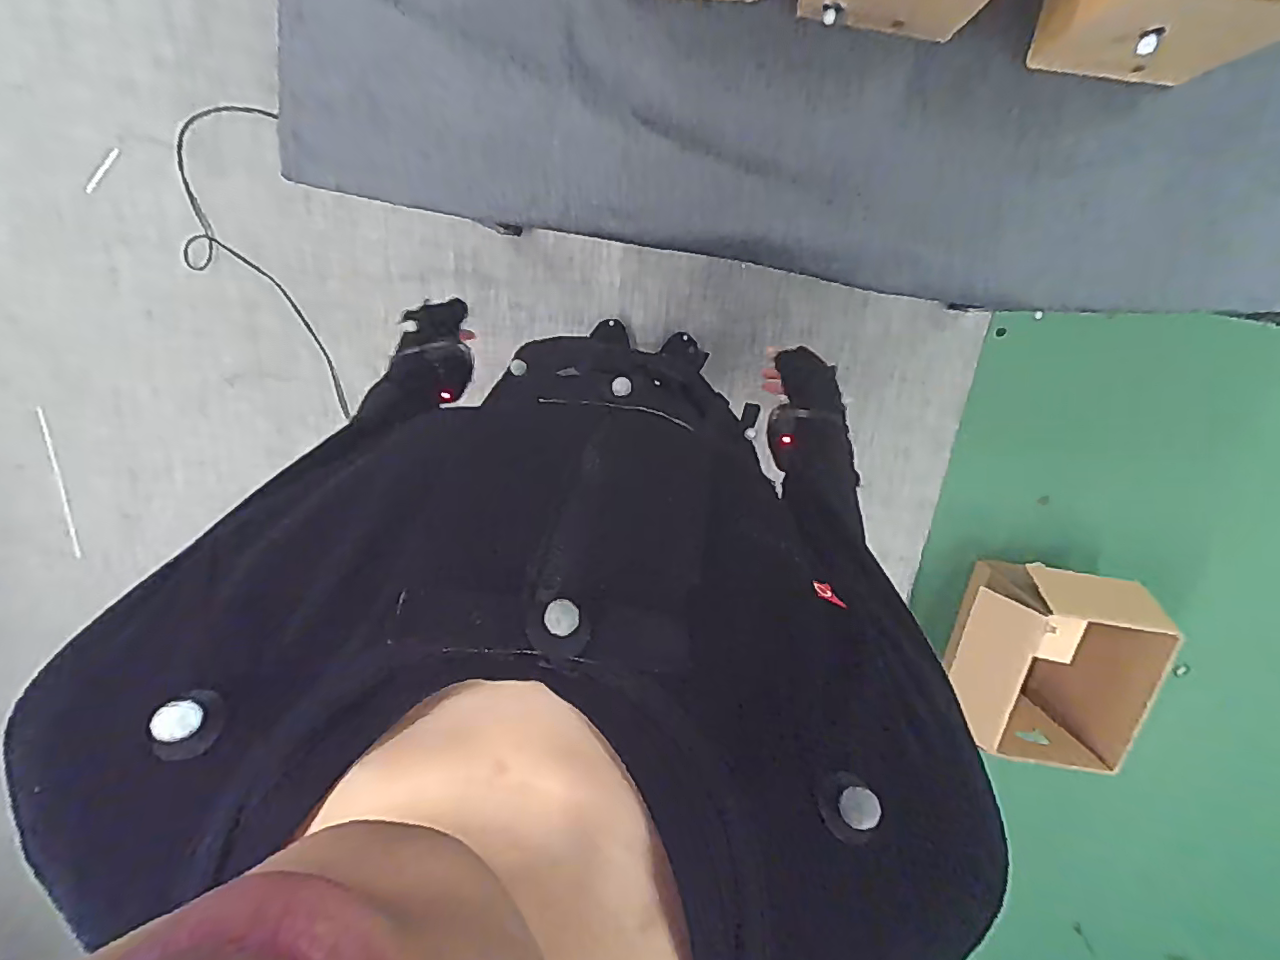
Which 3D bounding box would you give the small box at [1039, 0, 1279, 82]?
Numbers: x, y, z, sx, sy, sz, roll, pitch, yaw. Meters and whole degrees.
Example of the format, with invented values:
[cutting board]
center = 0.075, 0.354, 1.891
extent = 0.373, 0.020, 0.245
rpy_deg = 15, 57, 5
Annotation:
[small box]
center = 0.498, -0.484, 0.471
extent = 0.168, 0.176, 0.179
rpy_deg = 8, 107, 1
